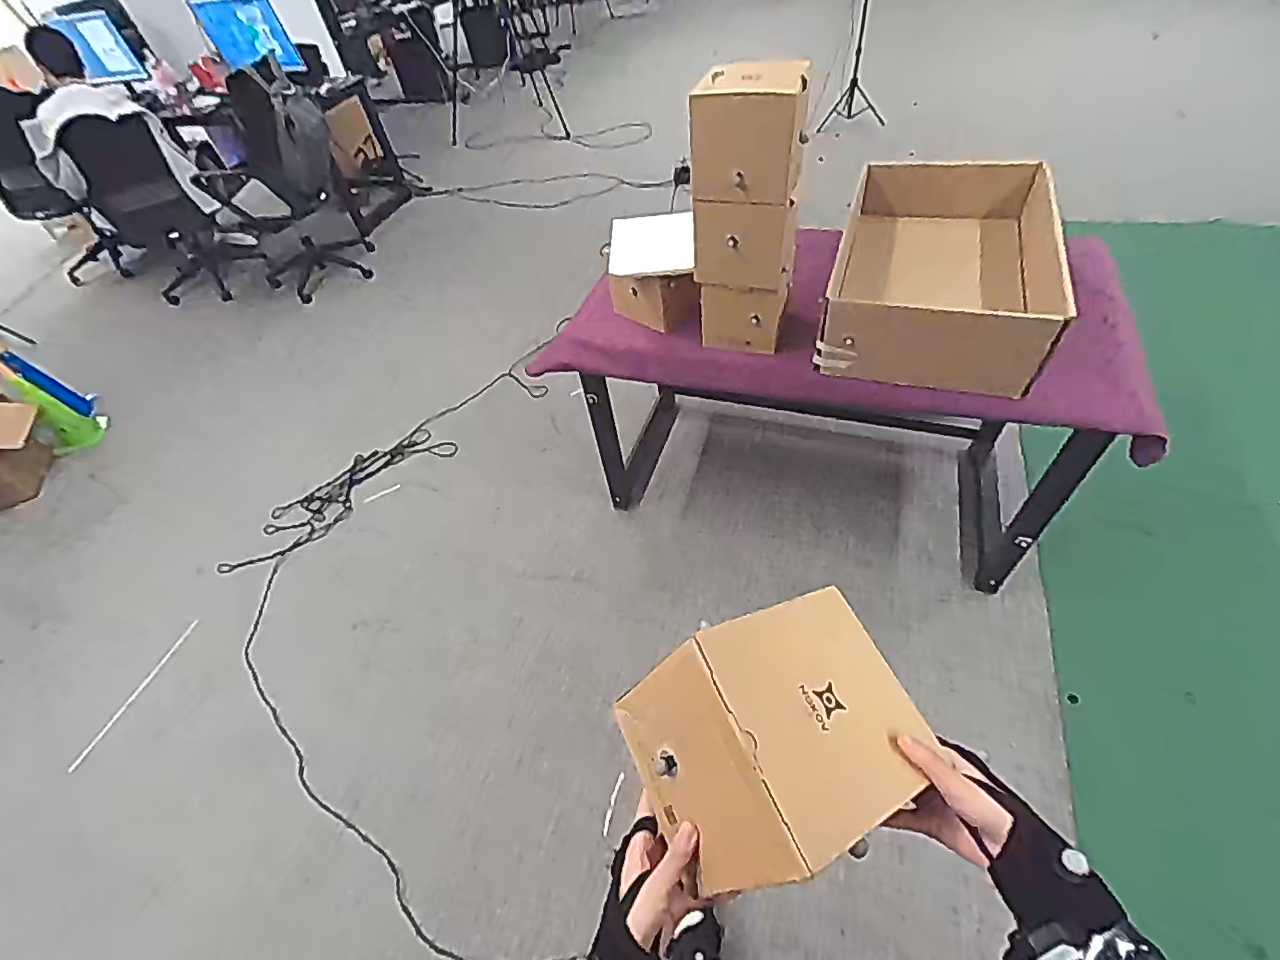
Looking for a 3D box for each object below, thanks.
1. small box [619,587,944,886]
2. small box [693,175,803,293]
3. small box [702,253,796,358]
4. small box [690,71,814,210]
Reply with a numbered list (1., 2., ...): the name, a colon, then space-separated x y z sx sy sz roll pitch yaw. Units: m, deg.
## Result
1. small box: 0.109 0.219 0.474 0.179 0.176 0.168 -8 57 -33
2. small box: 0.216 -0.494 1.085 0.179 0.176 0.168 12 52 18
3. small box: 0.245 -0.394 1.212 0.168 0.176 0.179 12 52 18
4. small box: 0.197 -0.600 0.961 0.179 0.176 0.168 12 52 17
